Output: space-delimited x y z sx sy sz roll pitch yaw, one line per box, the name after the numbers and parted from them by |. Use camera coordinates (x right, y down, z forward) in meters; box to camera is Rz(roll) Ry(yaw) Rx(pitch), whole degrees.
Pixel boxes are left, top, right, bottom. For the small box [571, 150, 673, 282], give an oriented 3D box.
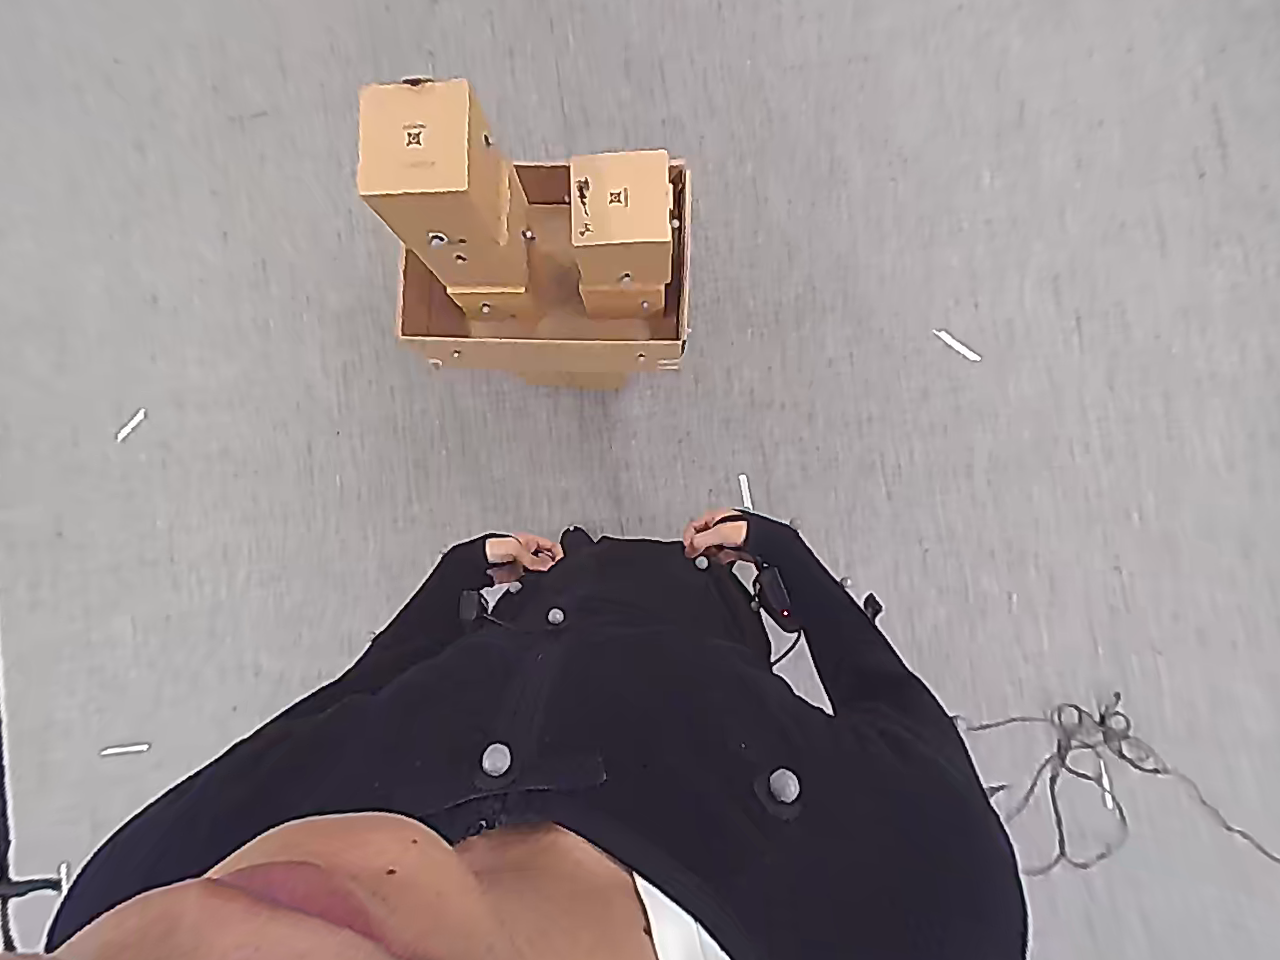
-0.030 -0.482 1.008 0.179 0.176 0.168 -1 86 3 | small box

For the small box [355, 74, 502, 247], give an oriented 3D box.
-0.324 -0.496 0.859 0.168 0.176 0.179 -1 85 3 | small box

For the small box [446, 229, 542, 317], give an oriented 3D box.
-0.312 -0.468 1.186 0.168 0.176 0.179 0 86 1 | small box

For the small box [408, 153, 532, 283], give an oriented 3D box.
-0.313 -0.486 1.022 0.179 0.176 0.168 2 86 1 | small box
